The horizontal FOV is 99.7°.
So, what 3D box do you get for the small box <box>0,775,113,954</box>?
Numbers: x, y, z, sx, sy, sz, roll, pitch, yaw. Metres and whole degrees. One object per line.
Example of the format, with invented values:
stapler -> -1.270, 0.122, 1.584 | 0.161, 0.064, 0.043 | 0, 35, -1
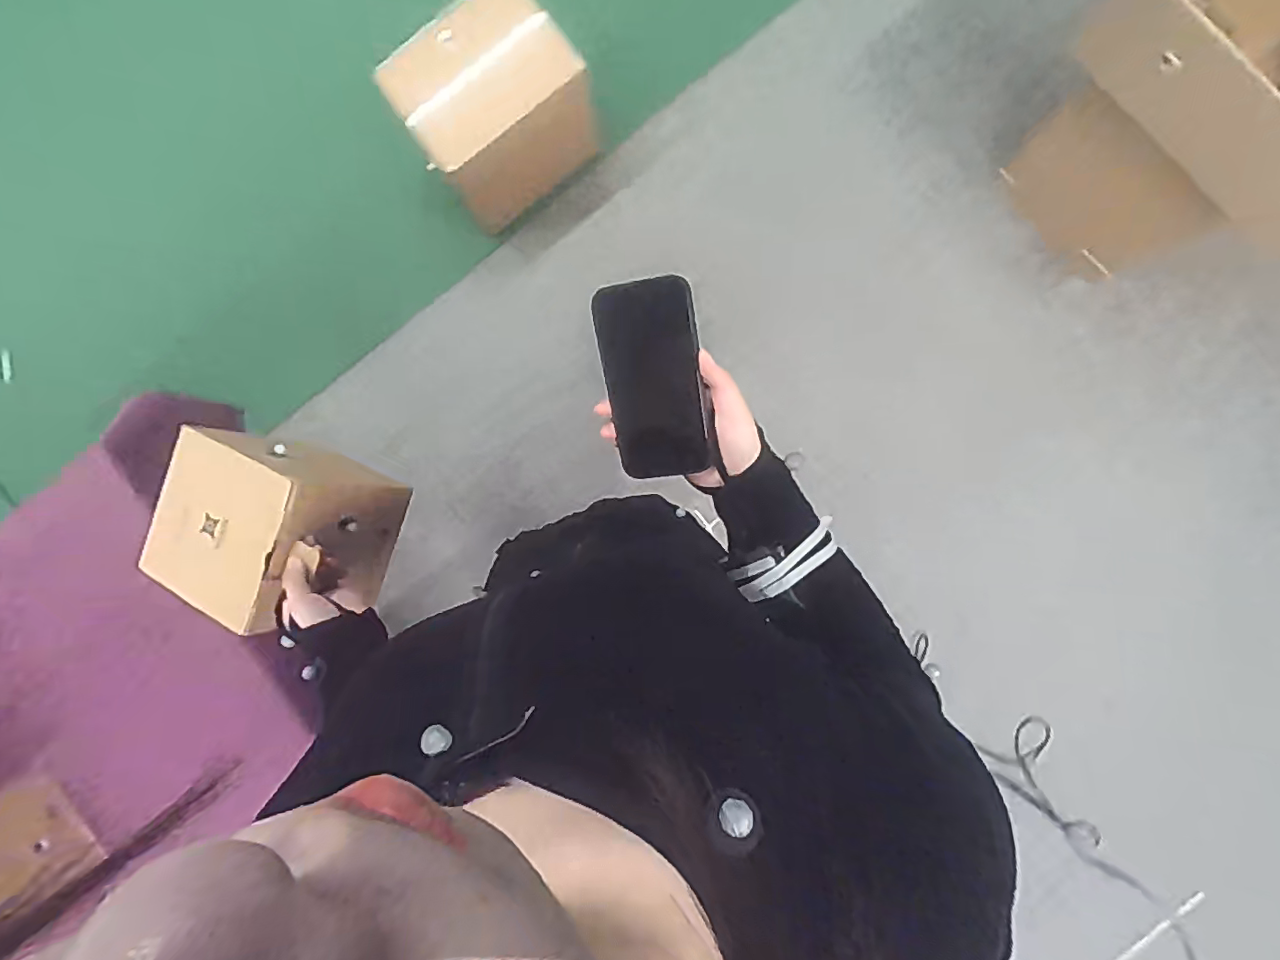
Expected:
small box -> -0.886, 0.546, 0.721 | 0.179, 0.176, 0.168 | -41, 86, 0
